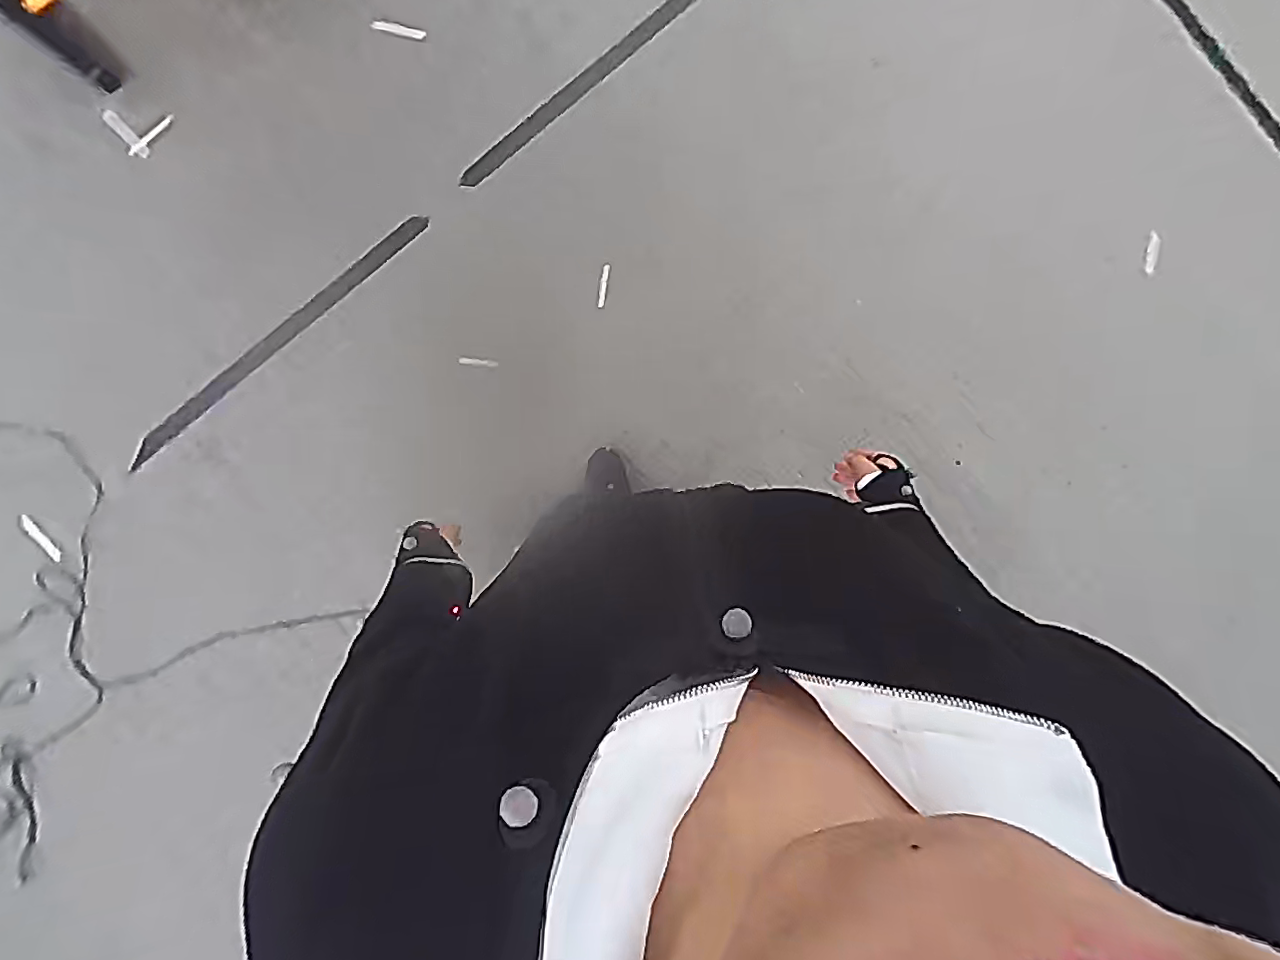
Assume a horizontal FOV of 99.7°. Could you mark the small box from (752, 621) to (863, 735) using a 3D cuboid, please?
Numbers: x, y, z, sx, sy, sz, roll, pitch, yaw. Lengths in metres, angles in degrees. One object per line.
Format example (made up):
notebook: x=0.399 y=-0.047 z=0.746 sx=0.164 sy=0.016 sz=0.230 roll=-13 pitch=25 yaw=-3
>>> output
small box: x=0.408 y=0.481 z=1.344 sx=0.168 sy=0.176 sz=0.179 roll=-38 pitch=93 yaw=-3
